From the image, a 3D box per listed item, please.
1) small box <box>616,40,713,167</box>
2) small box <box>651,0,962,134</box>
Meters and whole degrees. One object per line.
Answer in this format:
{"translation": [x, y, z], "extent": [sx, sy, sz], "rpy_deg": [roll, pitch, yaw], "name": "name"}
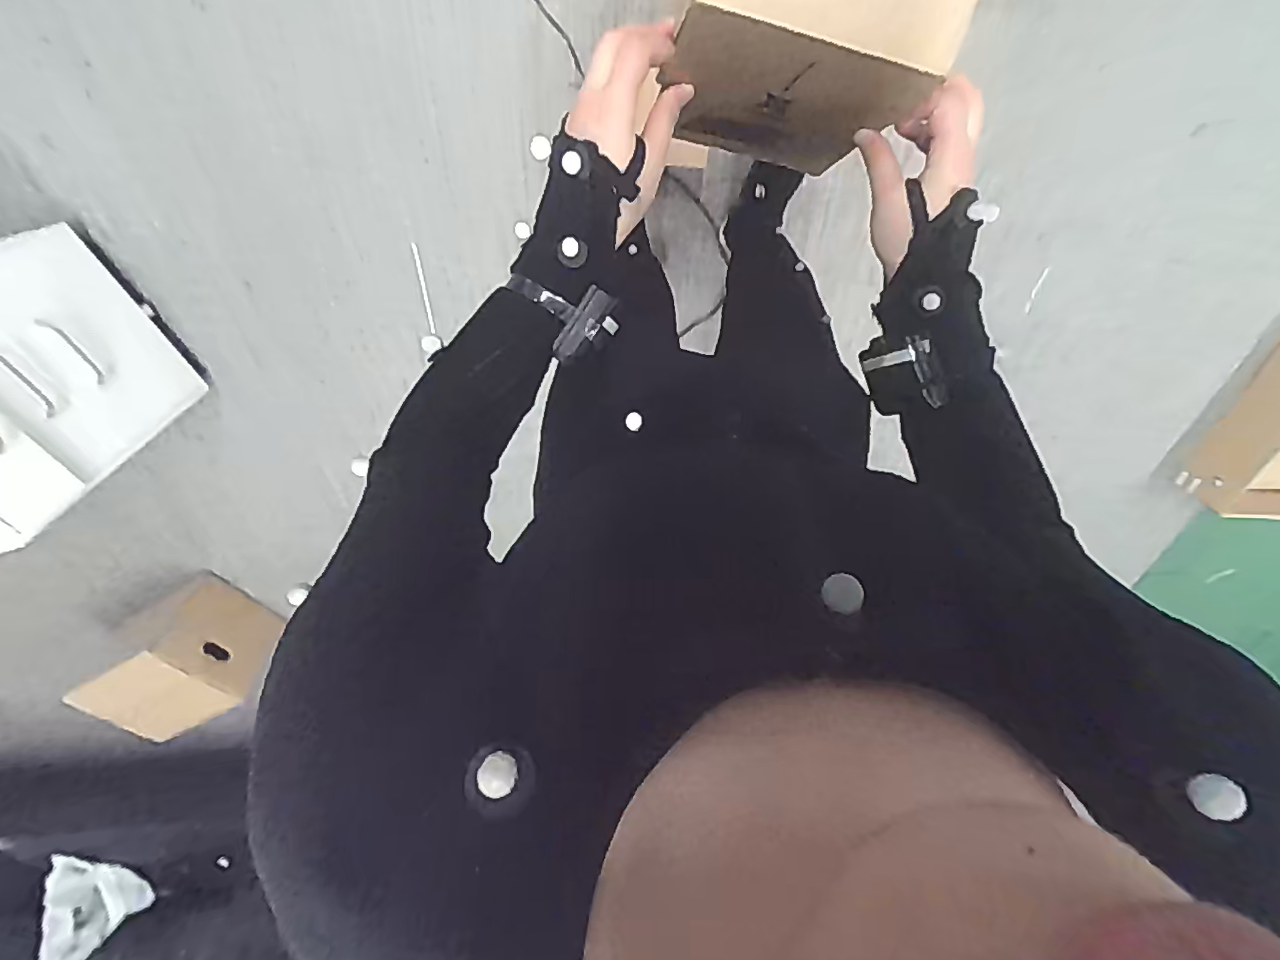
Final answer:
{"translation": [0.043, -0.706, 1.019], "extent": [0.168, 0.176, 0.179], "rpy_deg": [1, 126, -6], "name": "small box"}
{"translation": [0.113, -0.357, 0.352], "extent": [0.168, 0.179, 0.176], "rpy_deg": [9, 112, -10], "name": "small box"}
